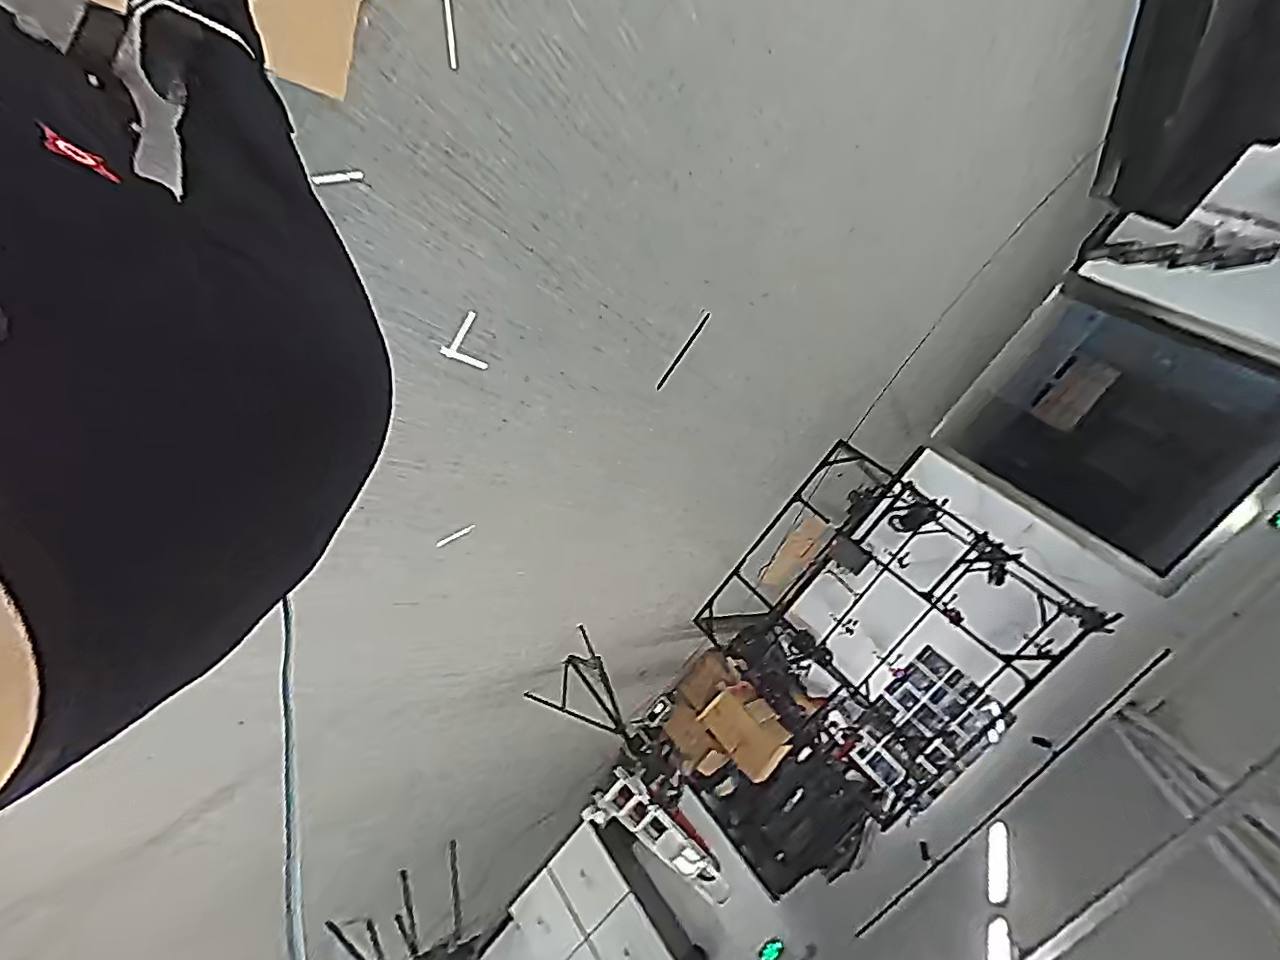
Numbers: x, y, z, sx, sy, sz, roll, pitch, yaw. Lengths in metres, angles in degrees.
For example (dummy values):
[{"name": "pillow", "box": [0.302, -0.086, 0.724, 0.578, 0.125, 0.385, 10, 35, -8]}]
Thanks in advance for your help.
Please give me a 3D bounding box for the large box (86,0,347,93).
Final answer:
[{"name": "large box", "box": [-0.676, -0.837, 0.769, 0.408, 0.320, 0.320, -7, 131, -47]}]
